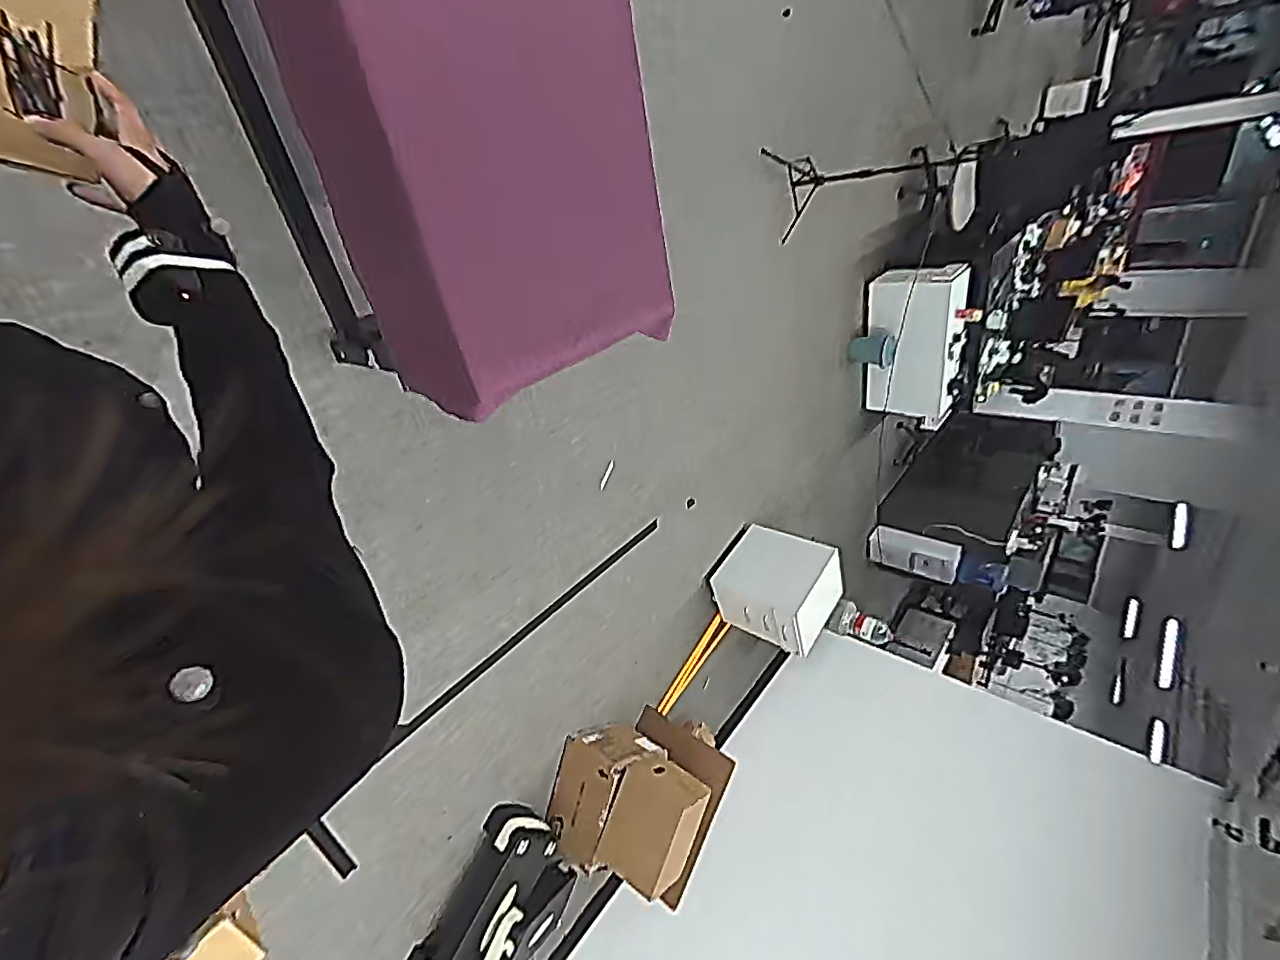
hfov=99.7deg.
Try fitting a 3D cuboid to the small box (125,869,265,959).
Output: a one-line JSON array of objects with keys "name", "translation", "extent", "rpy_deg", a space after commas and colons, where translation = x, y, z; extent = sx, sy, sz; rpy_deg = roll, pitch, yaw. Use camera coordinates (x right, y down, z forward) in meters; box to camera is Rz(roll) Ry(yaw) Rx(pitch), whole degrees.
[{"name": "small box", "translation": [-0.953, 0.994, 1.160], "extent": [0.168, 0.176, 0.179], "rpy_deg": [-35, 126, -36]}]

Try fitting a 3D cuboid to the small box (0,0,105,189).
[{"name": "small box", "translation": [-0.611, -0.380, 0.483], "extent": [0.179, 0.176, 0.168], "rpy_deg": [-3, 112, -48]}]
